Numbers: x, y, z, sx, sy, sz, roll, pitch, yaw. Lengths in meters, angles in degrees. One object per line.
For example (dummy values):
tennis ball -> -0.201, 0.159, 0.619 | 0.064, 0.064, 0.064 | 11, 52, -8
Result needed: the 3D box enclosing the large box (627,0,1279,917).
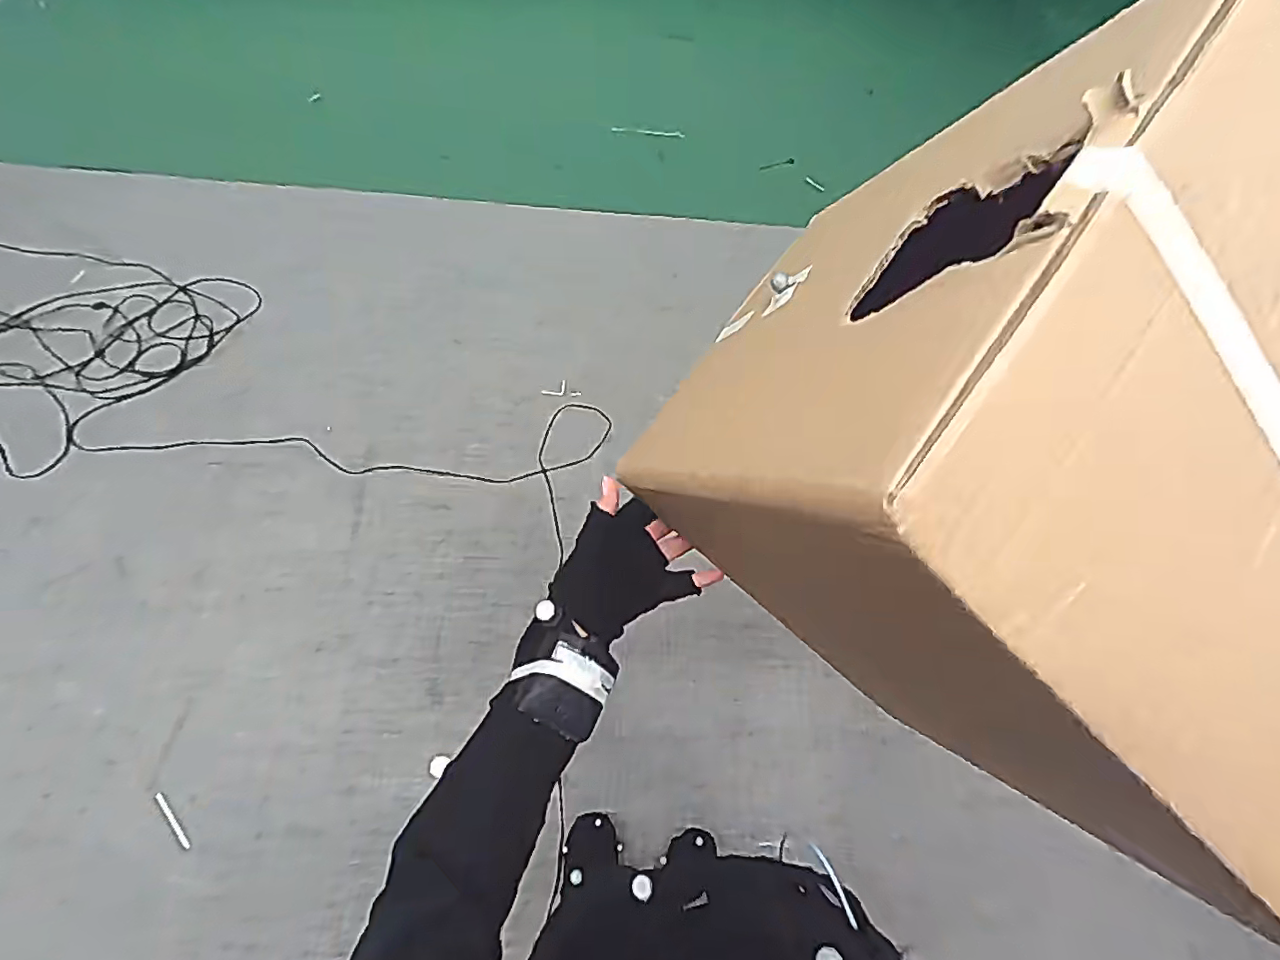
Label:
large box -> 0.265, 0.004, 0.401 | 0.408, 0.320, 0.320 | 40, 81, -17
